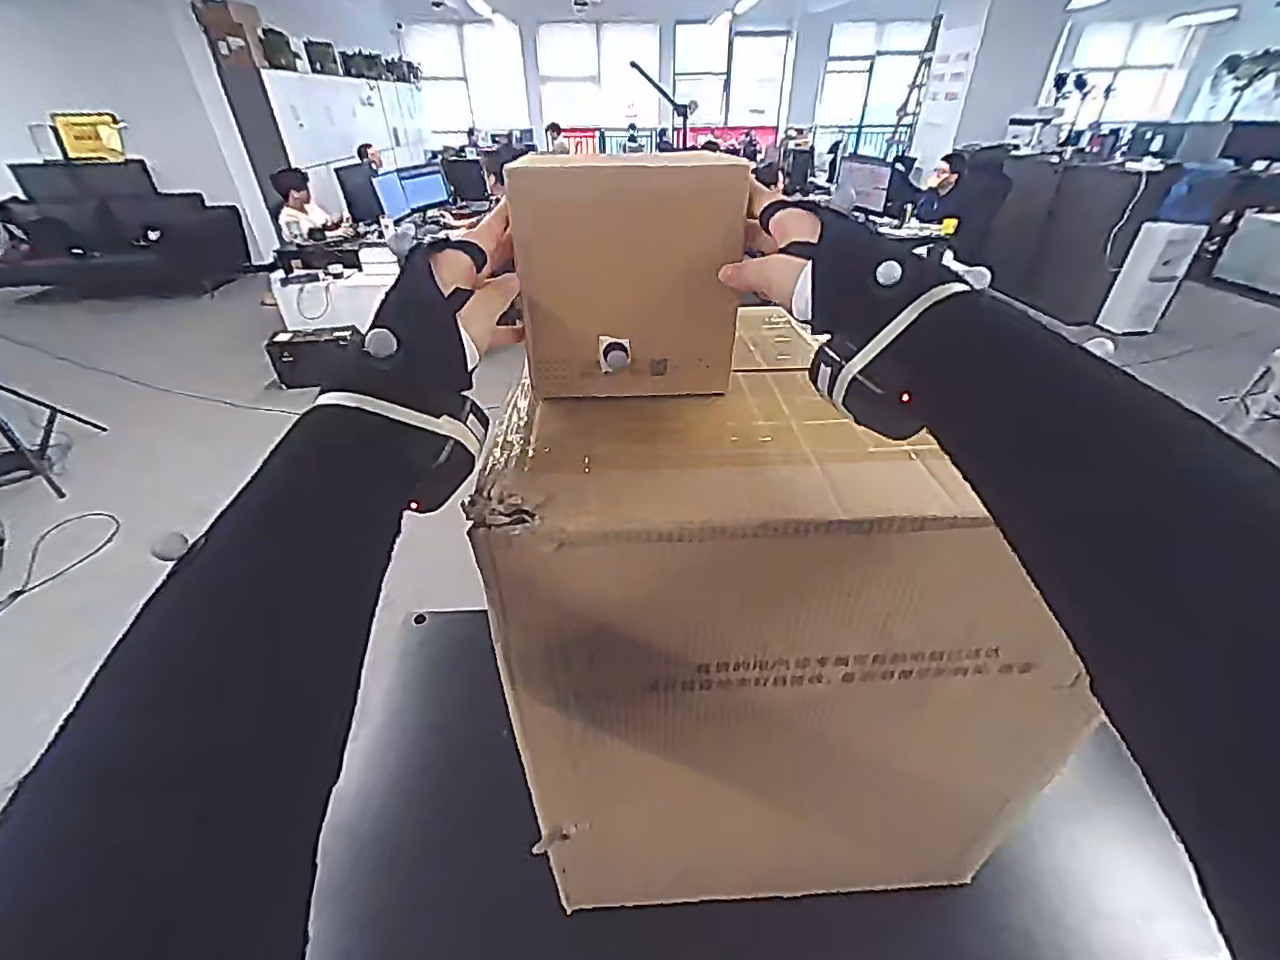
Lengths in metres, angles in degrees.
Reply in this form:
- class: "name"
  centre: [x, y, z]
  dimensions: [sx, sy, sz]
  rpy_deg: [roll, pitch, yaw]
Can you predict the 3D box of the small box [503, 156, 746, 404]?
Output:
- class: "small box"
  centre: [-0.015, -0.178, 0.469]
  dimensions: [0.168, 0.176, 0.179]
  rpy_deg: [-5, 34, -3]
